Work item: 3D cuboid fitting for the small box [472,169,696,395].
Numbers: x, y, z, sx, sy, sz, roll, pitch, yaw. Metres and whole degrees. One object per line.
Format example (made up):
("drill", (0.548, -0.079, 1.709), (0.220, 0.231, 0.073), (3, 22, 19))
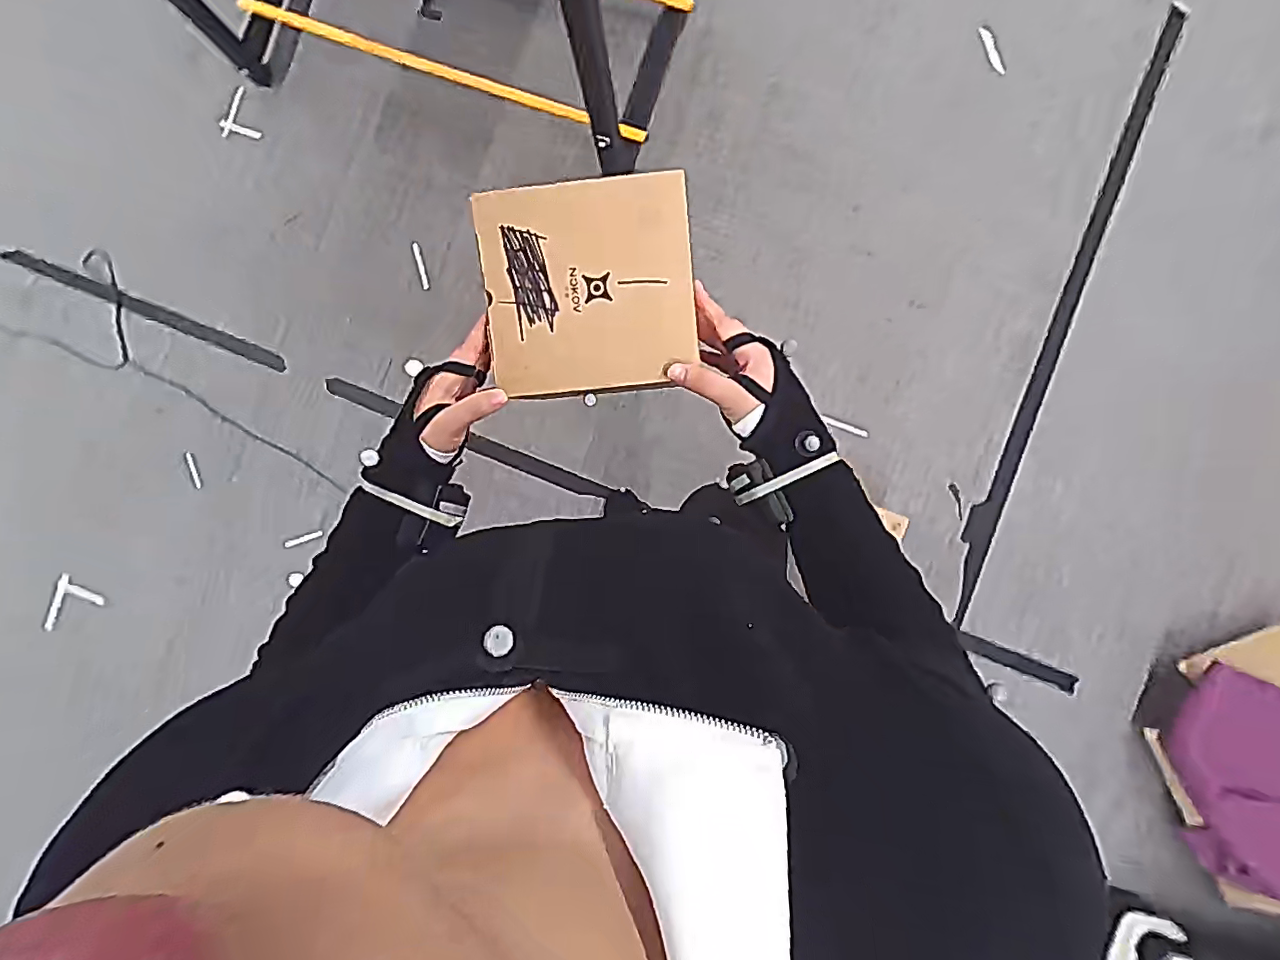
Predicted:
("small box", (-0.043, -0.173, 0.527), (0.179, 0.176, 0.168), (-6, 98, 2))
